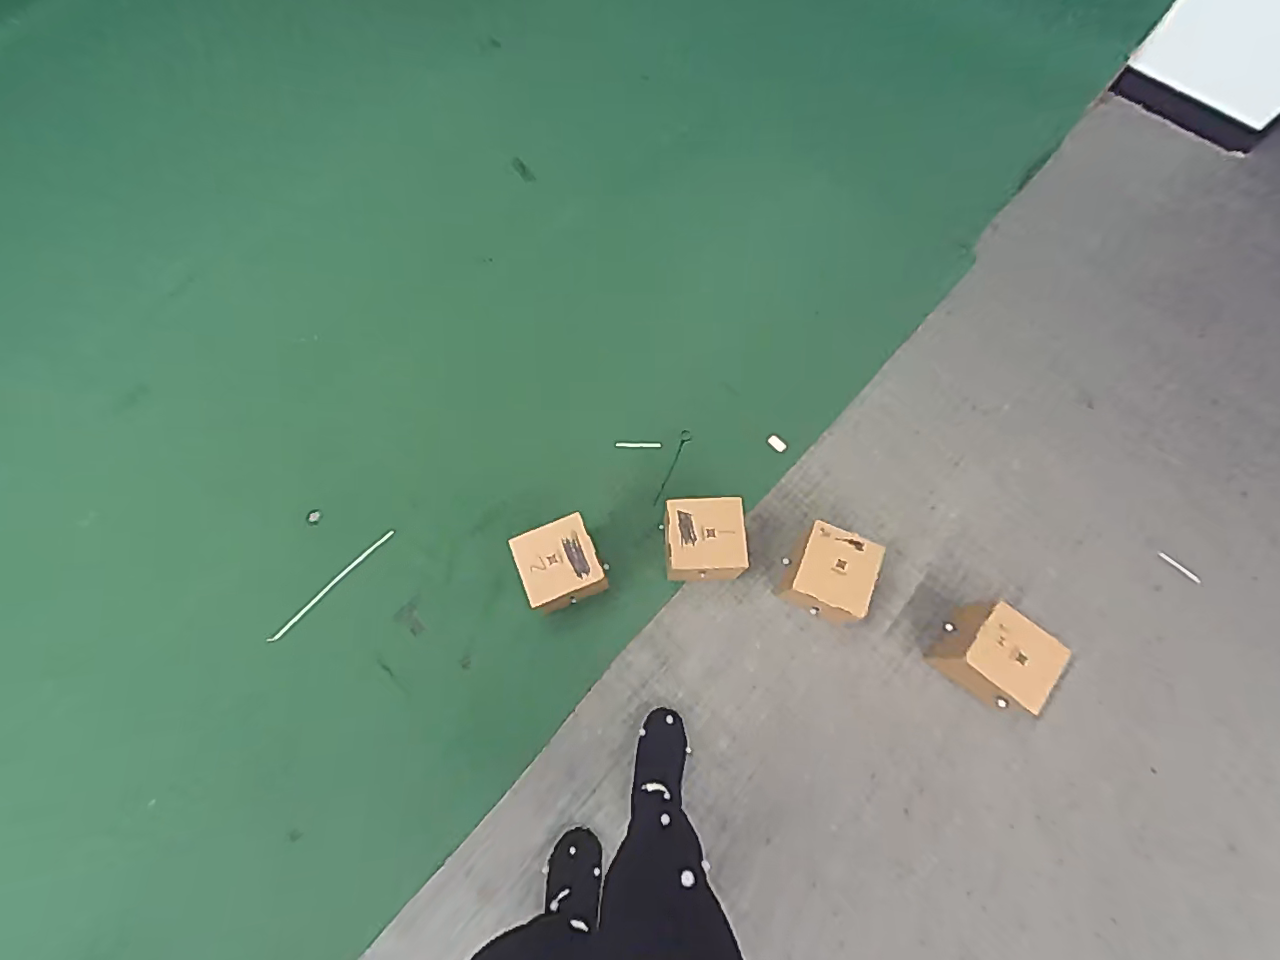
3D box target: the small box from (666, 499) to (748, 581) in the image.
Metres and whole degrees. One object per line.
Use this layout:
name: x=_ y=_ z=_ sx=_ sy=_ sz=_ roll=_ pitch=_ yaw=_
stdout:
small box: x=0.153 y=0.149 z=1.300 sx=0.179 sy=0.176 sz=0.168 roll=-1 pitch=71 yaw=-1

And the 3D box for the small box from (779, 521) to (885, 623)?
small box: x=0.442 y=0.223 z=1.273 sx=0.168 sy=0.176 sz=0.179 roll=23 pitch=74 yaw=8

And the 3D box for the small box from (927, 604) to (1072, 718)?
small box: x=0.794 y=0.399 z=1.211 sx=0.179 sy=0.176 sz=0.168 roll=39 pitch=75 yaw=12
